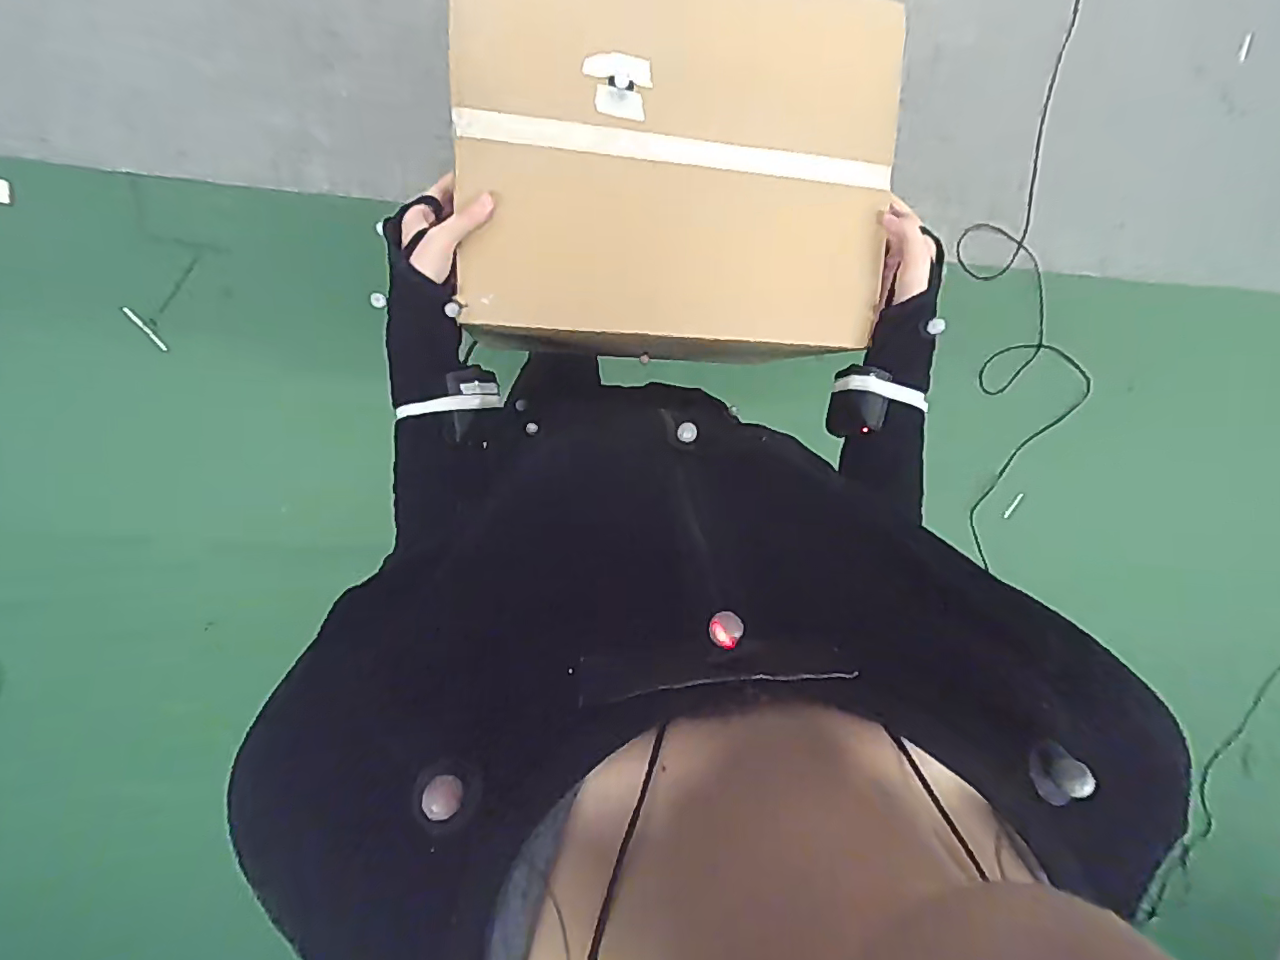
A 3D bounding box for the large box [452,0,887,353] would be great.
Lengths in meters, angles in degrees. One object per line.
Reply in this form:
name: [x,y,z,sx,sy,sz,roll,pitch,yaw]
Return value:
large box: [0.011,-0.319,0.643,0.408,0.320,0.320,0,99,-11]
